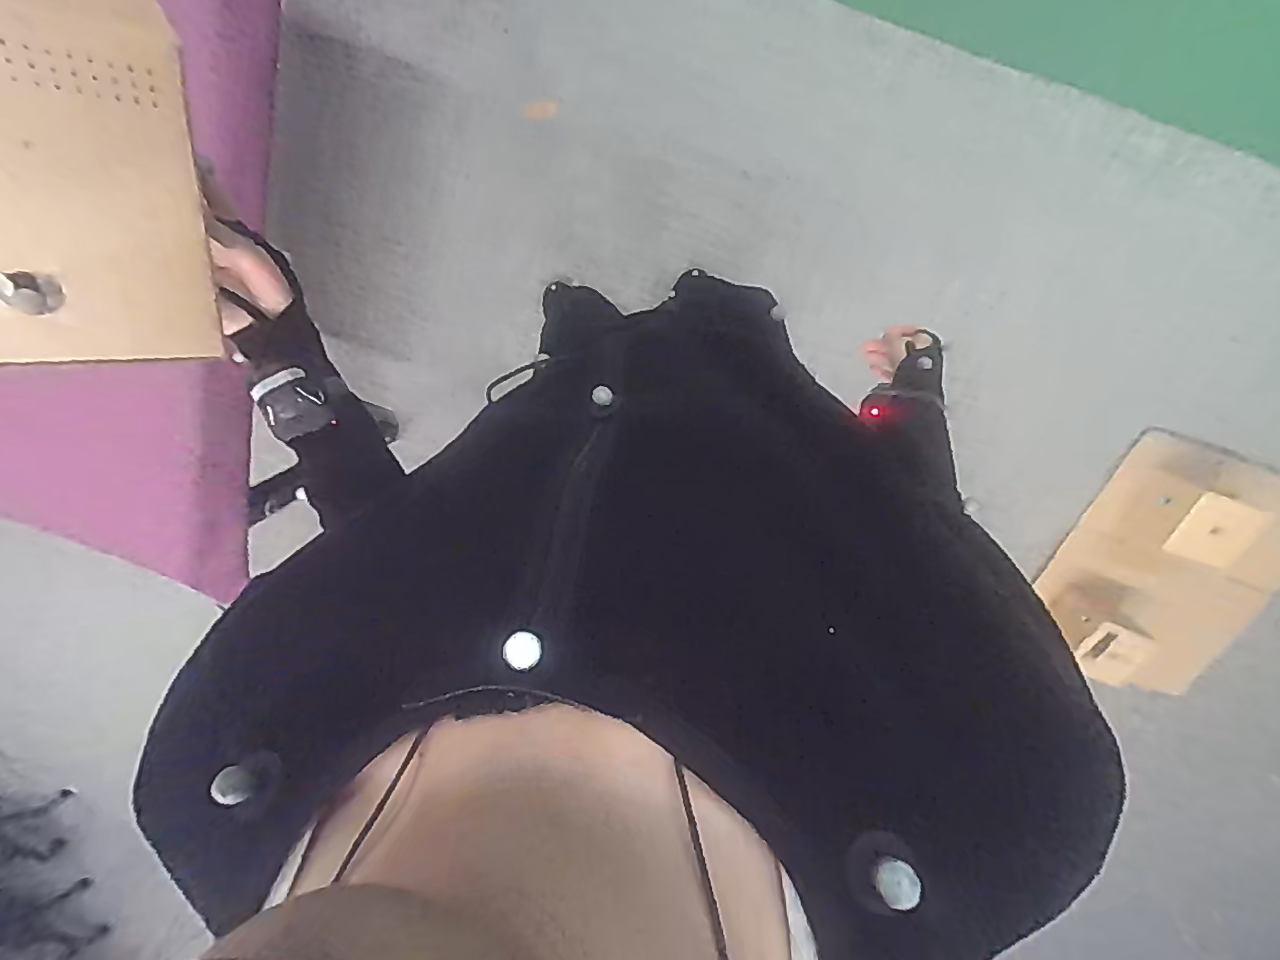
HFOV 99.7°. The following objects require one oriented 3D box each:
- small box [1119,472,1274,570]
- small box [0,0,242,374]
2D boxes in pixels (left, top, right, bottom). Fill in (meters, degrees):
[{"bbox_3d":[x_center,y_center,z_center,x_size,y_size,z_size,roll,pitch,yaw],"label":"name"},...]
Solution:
[{"bbox_3d":[1.381,0.094,1.360,0.179,0.176,0.168,17,112,-2],"label":"small box"},{"bbox_3d":[-0.334,-0.172,0.277,0.168,0.179,0.176,49,133,30],"label":"small box"}]
